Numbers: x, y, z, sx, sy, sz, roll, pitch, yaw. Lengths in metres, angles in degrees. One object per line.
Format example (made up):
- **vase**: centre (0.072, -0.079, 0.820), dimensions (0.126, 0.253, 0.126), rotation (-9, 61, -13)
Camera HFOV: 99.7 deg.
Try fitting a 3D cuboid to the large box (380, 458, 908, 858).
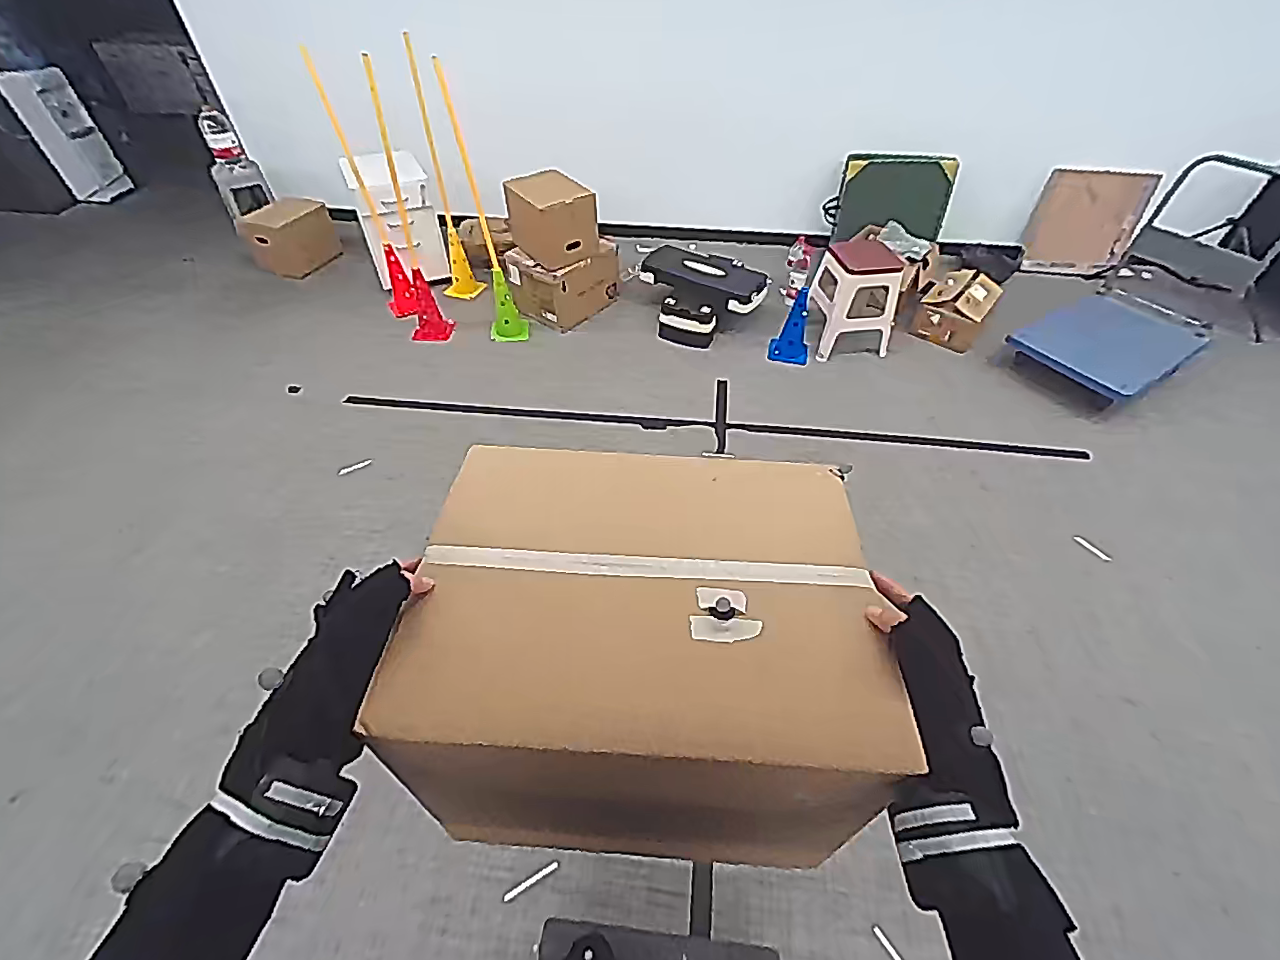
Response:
- **large box**: centre (0.004, 0.197, 0.607), dimensions (0.408, 0.320, 0.320), rotation (4, 45, 2)
